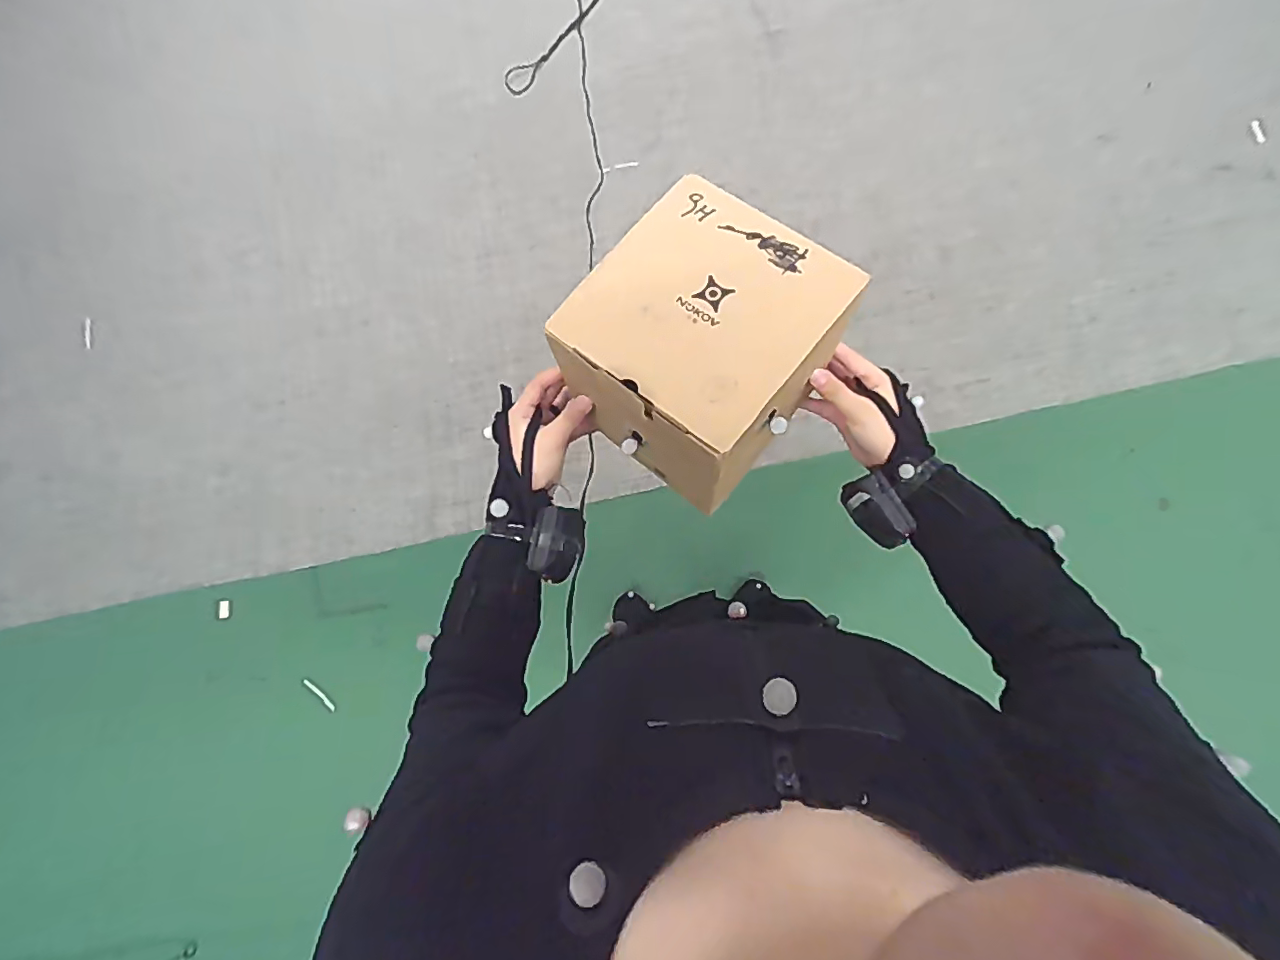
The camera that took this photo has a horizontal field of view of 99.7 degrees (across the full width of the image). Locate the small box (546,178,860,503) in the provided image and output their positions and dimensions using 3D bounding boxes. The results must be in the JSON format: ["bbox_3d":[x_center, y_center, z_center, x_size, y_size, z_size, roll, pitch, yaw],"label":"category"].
[{"bbox_3d":[0.052,-0.104,0.469,0.168,0.176,0.179,38,80,14],"label":"small box"}]
